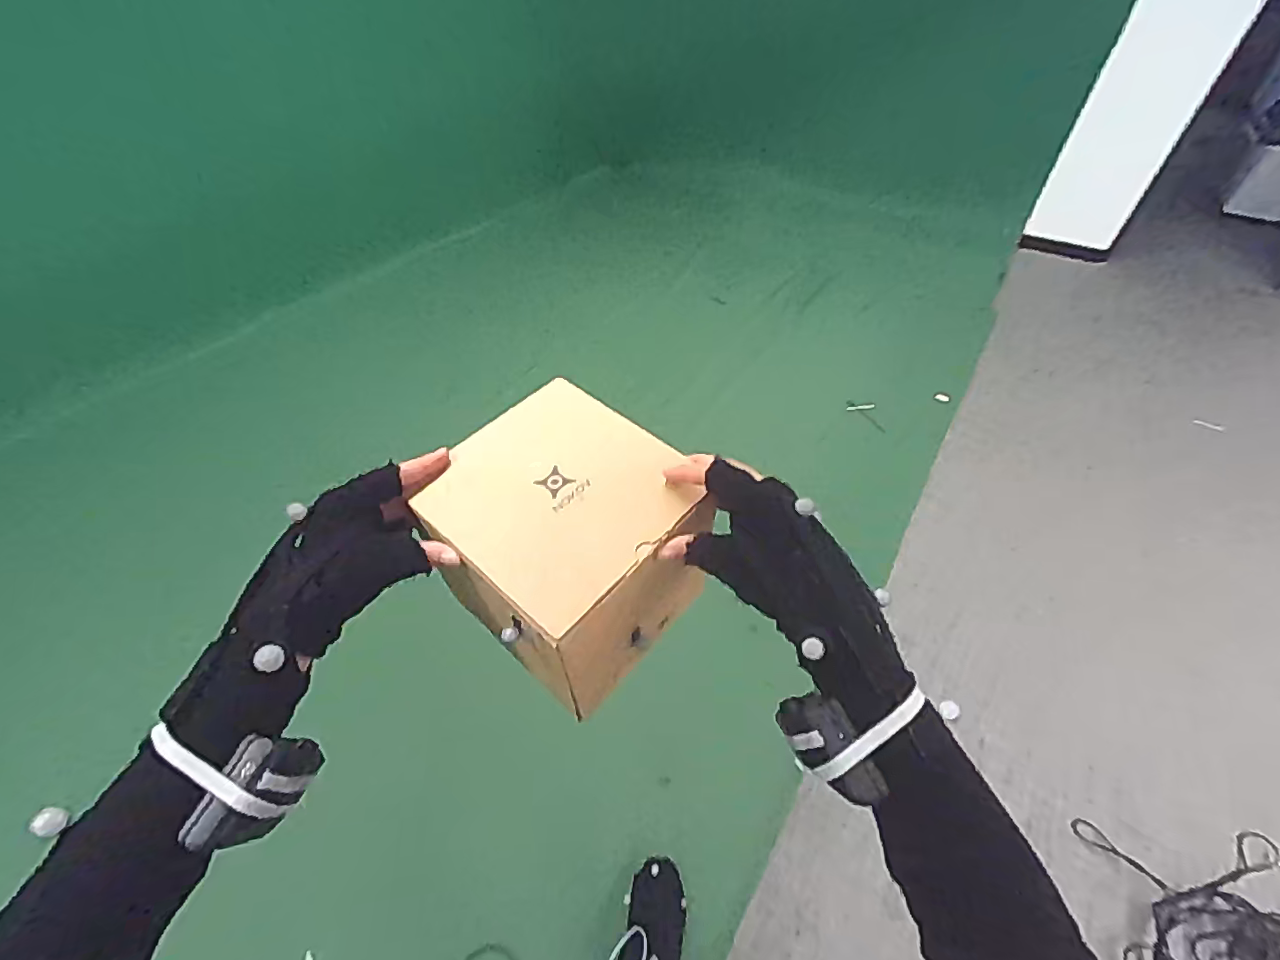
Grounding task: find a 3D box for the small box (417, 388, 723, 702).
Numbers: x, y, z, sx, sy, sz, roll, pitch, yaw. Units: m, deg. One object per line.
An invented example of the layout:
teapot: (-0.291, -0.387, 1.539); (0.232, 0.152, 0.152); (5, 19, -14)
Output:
small box: (-0.055, 0.058, 0.469); (0.179, 0.176, 0.168); (35, 59, 24)
